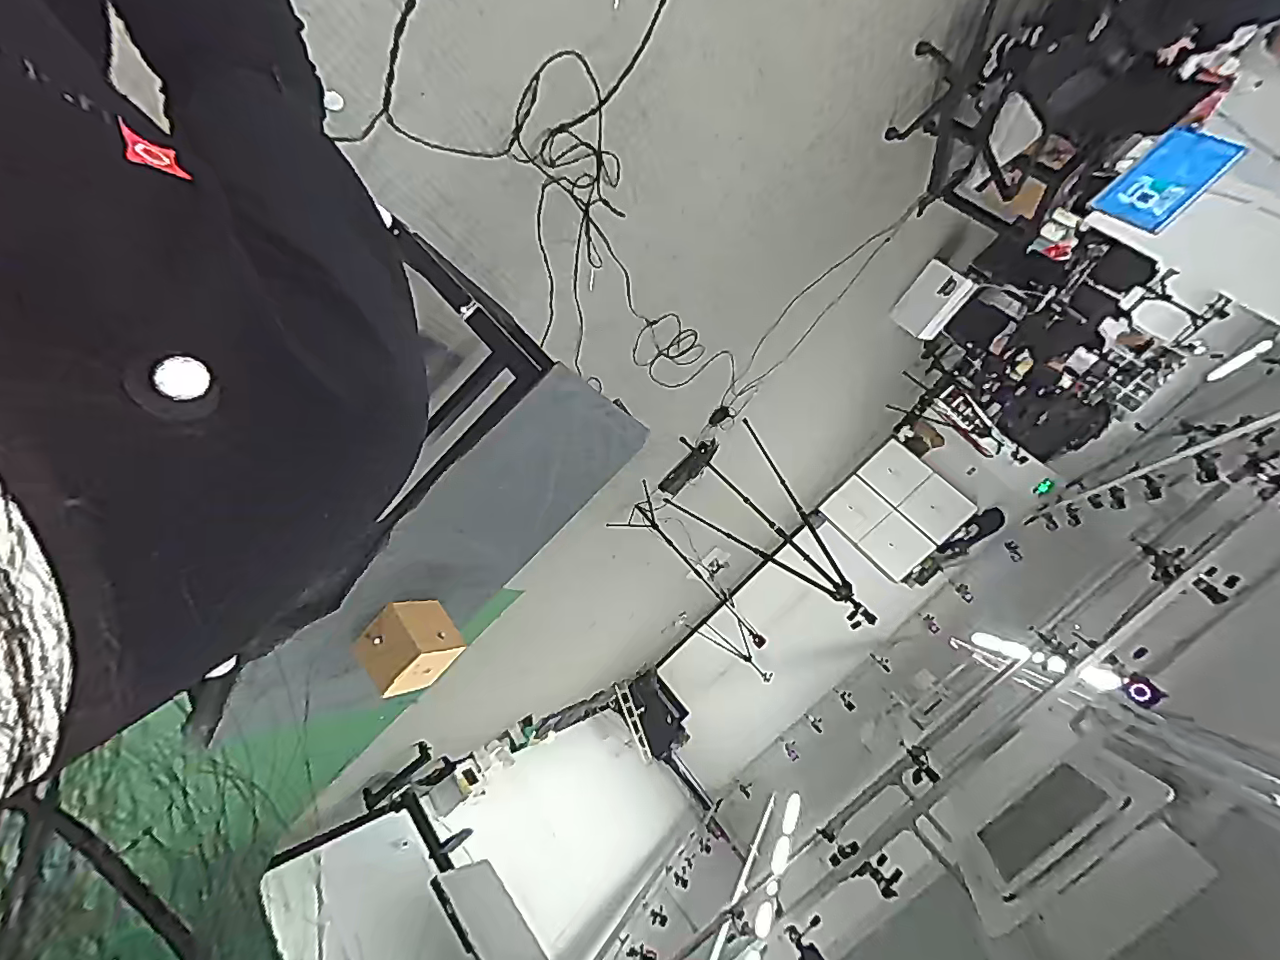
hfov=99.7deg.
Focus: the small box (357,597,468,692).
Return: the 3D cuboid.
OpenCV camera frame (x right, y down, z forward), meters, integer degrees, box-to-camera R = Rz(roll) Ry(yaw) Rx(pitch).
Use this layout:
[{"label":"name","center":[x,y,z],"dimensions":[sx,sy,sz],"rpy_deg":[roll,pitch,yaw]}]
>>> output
[{"label":"small box","center":[-0.602,0.426,1.433],"dimensions":[0.168,0.176,0.179],"rpy_deg":[-47,158,8]}]
